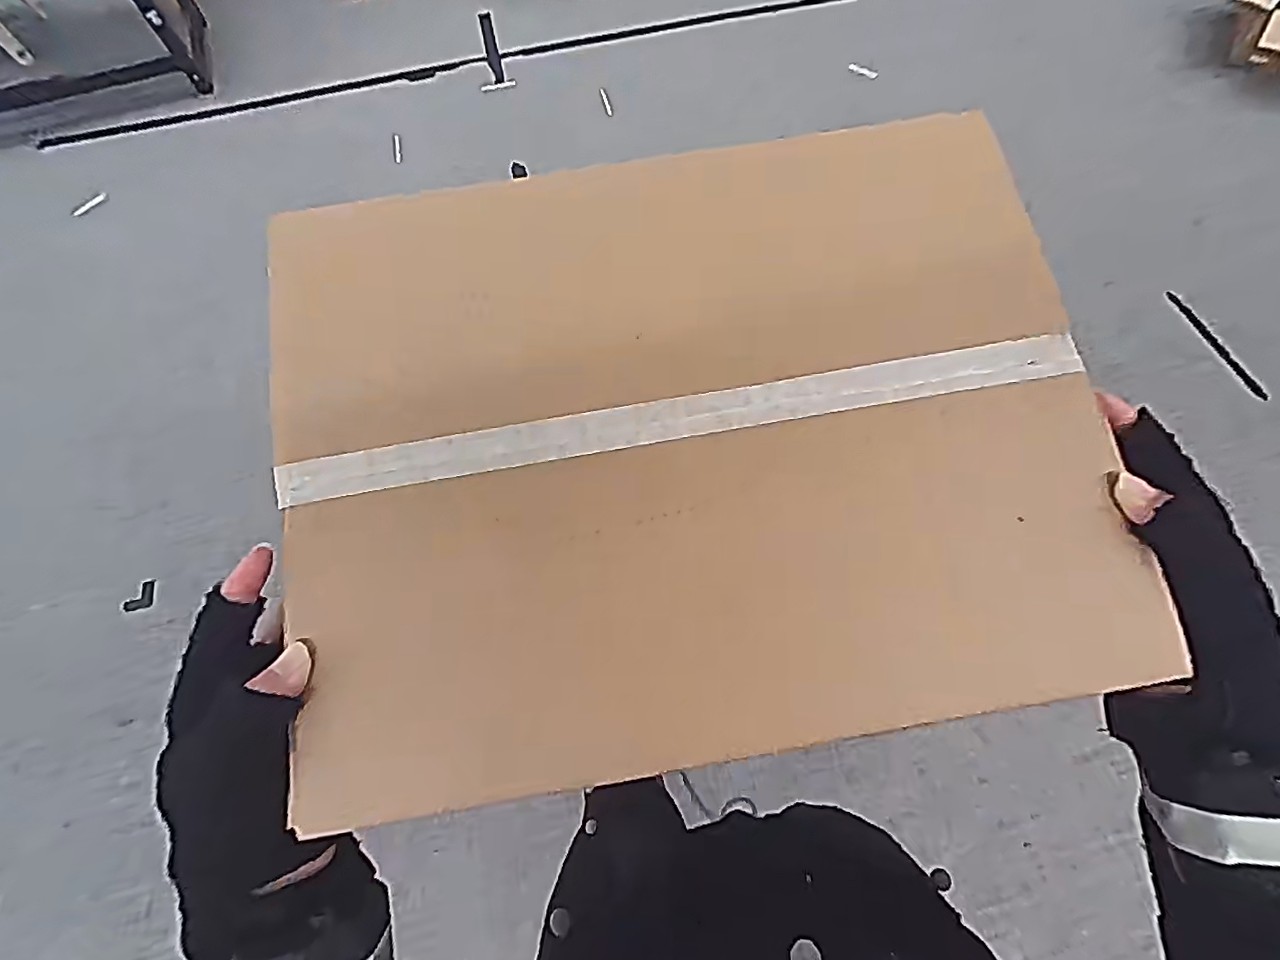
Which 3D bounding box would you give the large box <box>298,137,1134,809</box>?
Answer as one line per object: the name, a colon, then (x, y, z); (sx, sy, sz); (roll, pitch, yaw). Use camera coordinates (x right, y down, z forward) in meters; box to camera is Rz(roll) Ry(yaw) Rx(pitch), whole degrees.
large box: (0.021, 0.005, 0.434); (0.408, 0.320, 0.320); (-10, 78, -2)
